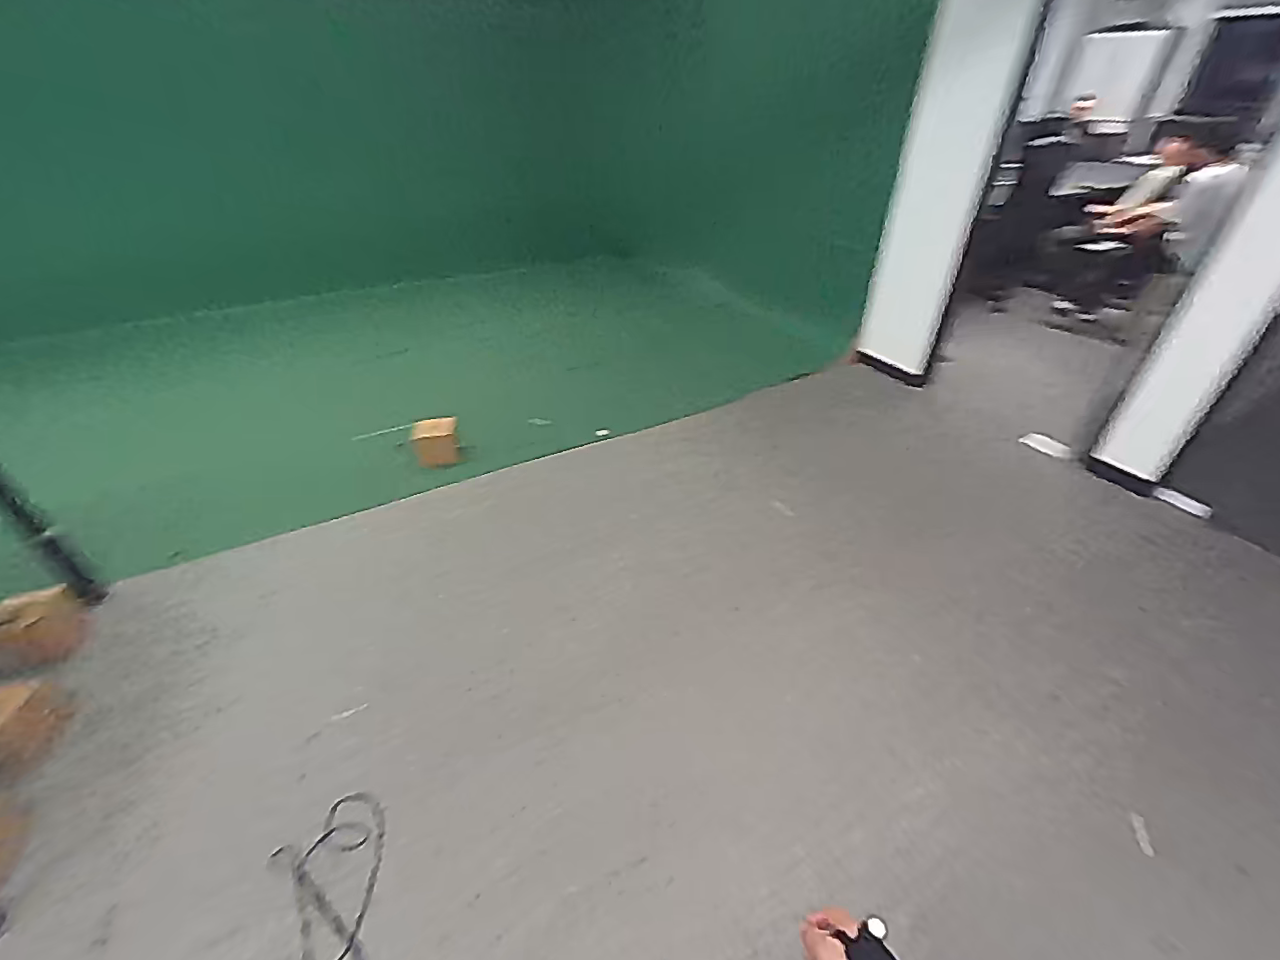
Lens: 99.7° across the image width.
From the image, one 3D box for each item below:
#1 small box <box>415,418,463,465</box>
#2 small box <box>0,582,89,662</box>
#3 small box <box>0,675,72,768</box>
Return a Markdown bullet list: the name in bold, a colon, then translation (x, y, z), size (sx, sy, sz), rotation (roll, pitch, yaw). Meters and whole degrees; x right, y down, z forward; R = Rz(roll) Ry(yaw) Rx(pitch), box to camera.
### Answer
- **small box**: translation (-0.985, -0.185, 2.656), size (0.179, 0.176, 0.168), rotation (-5, 37, -7)
- **small box**: translation (-1.984, 0.472, 1.779), size (0.168, 0.176, 0.179), rotation (-14, 38, -18)
- **small box**: translation (-1.762, 0.675, 1.507), size (0.168, 0.176, 0.179), rotation (-5, 38, -6)
